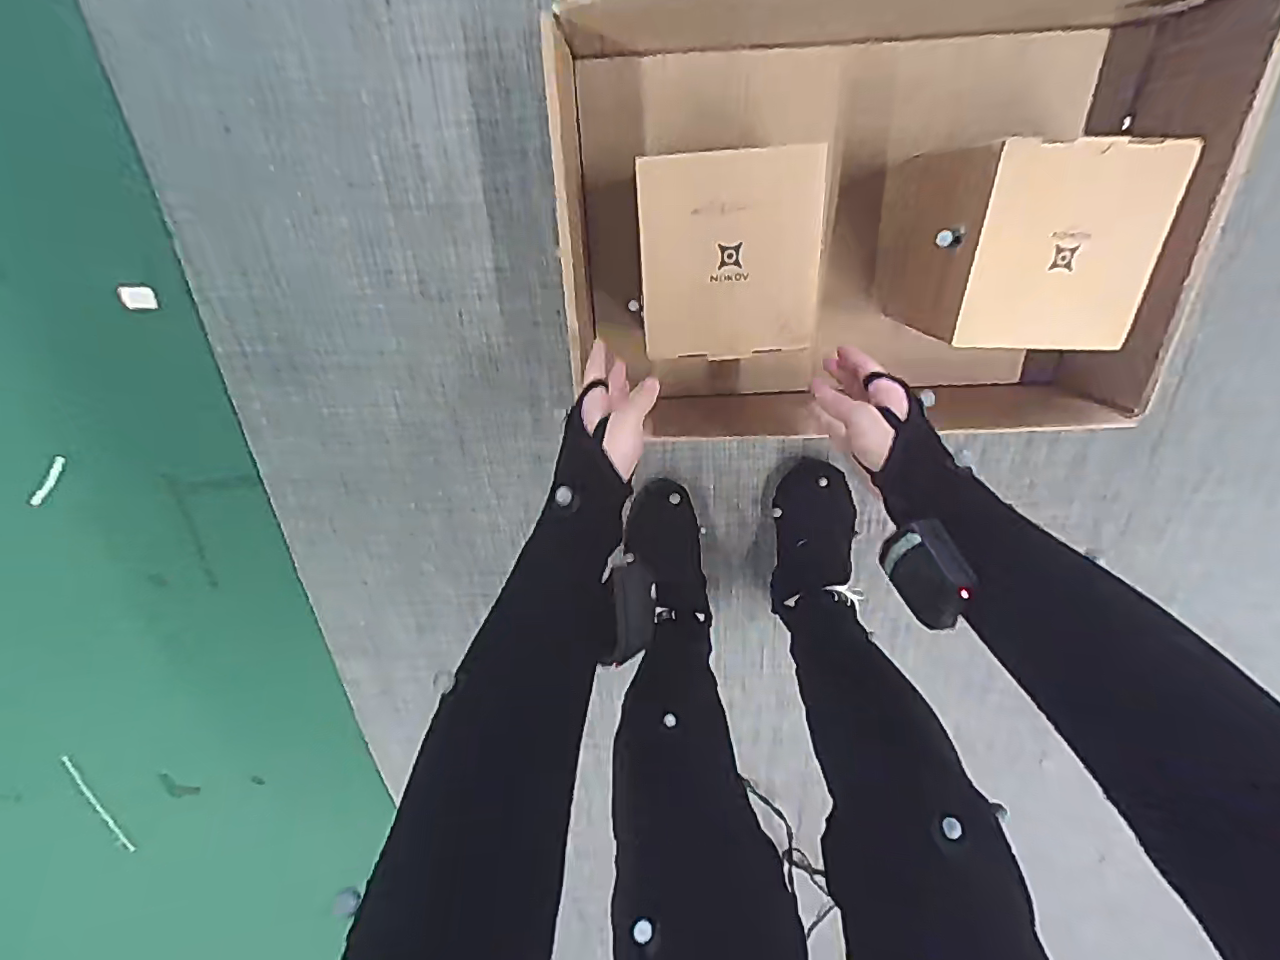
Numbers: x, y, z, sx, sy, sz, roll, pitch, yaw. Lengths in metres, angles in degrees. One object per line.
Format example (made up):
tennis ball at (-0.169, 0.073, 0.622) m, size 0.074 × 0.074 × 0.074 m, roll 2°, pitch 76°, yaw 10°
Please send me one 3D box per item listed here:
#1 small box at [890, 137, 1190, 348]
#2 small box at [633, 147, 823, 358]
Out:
small box at (0.382, -0.243, 0.562) m, size 0.168 × 0.176 × 0.179 m, roll 1°, pitch 115°, yaw 2°
small box at (0.081, -0.237, 0.572) m, size 0.168 × 0.176 × 0.179 m, roll -3°, pitch 114°, yaw 2°
